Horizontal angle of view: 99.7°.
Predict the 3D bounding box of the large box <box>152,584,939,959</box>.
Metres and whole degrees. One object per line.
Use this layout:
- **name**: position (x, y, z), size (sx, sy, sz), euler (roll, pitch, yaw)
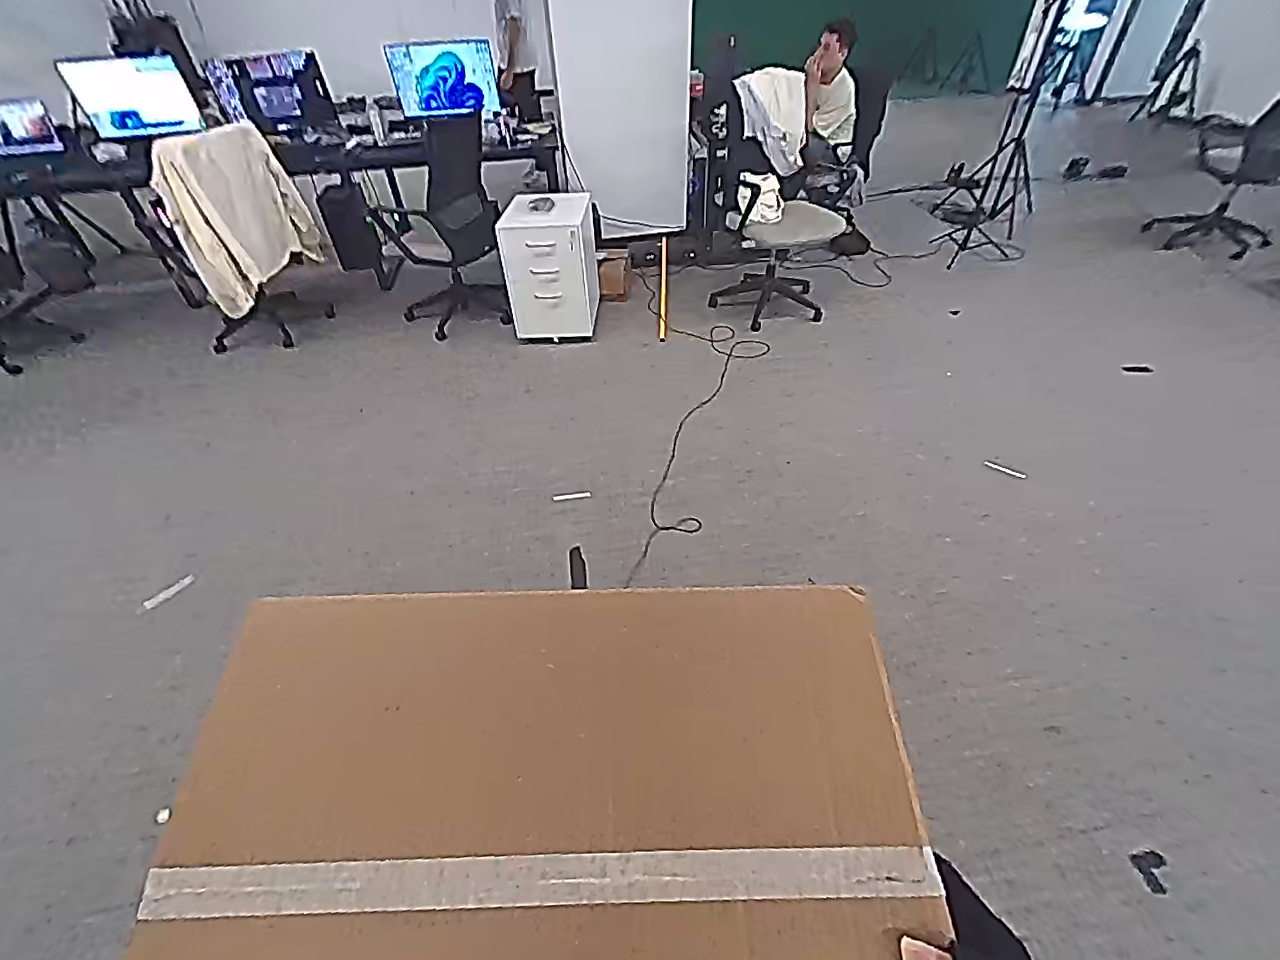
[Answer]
- **large box**: position (-0.048, 0.286, 0.419), size (0.408, 0.320, 0.320), euler (-1, 59, 0)
